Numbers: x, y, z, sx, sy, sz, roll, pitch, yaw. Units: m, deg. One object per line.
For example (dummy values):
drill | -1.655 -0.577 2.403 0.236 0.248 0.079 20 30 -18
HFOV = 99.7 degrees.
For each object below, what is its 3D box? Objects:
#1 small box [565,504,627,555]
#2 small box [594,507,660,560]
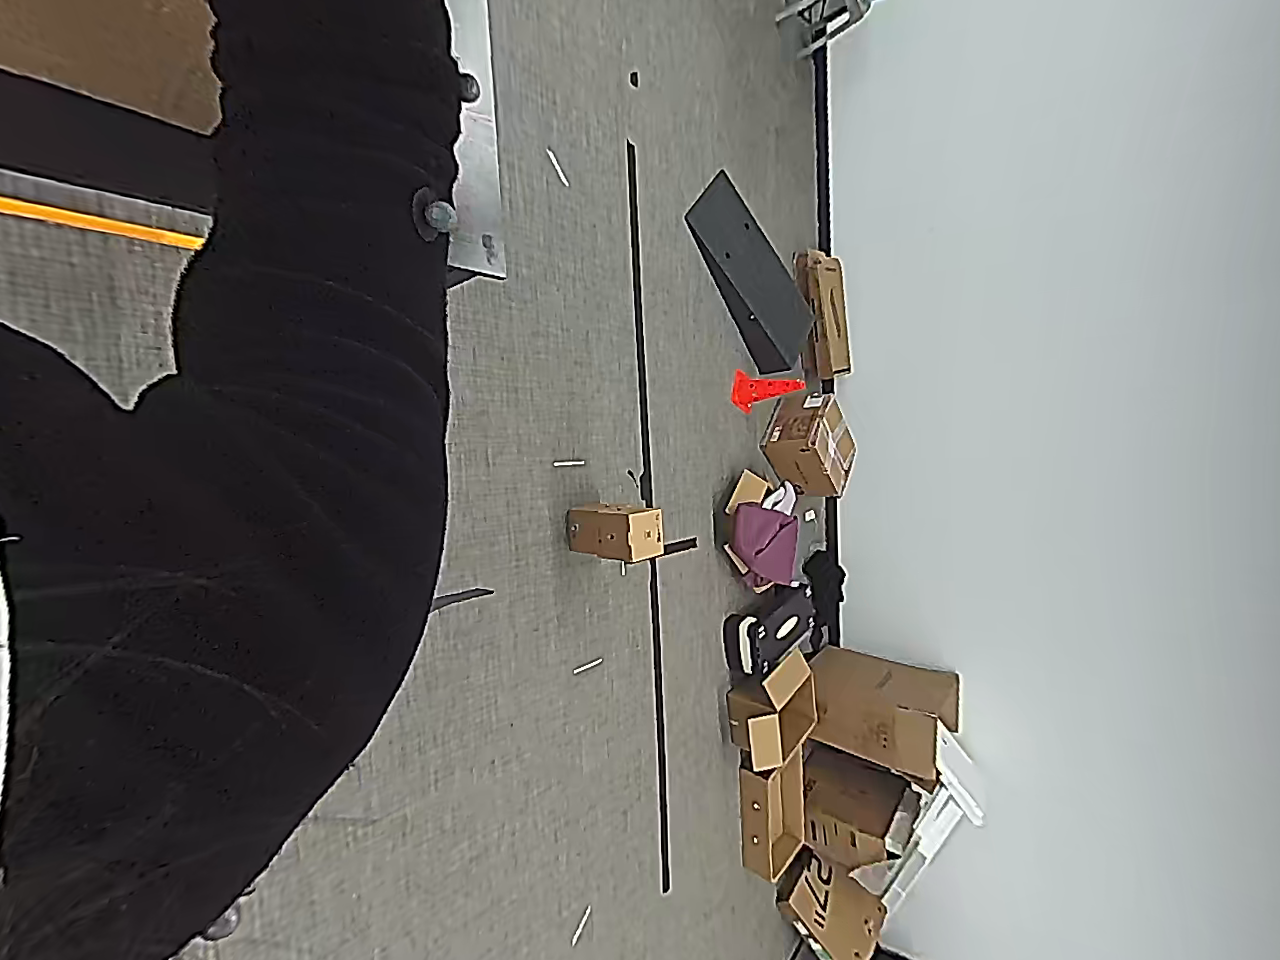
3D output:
small box | -0.164 0.182 2.045 0.179 0.176 0.168 -8 96 -47
small box | -0.051 0.187 1.925 0.179 0.176 0.168 -6 94 -48
